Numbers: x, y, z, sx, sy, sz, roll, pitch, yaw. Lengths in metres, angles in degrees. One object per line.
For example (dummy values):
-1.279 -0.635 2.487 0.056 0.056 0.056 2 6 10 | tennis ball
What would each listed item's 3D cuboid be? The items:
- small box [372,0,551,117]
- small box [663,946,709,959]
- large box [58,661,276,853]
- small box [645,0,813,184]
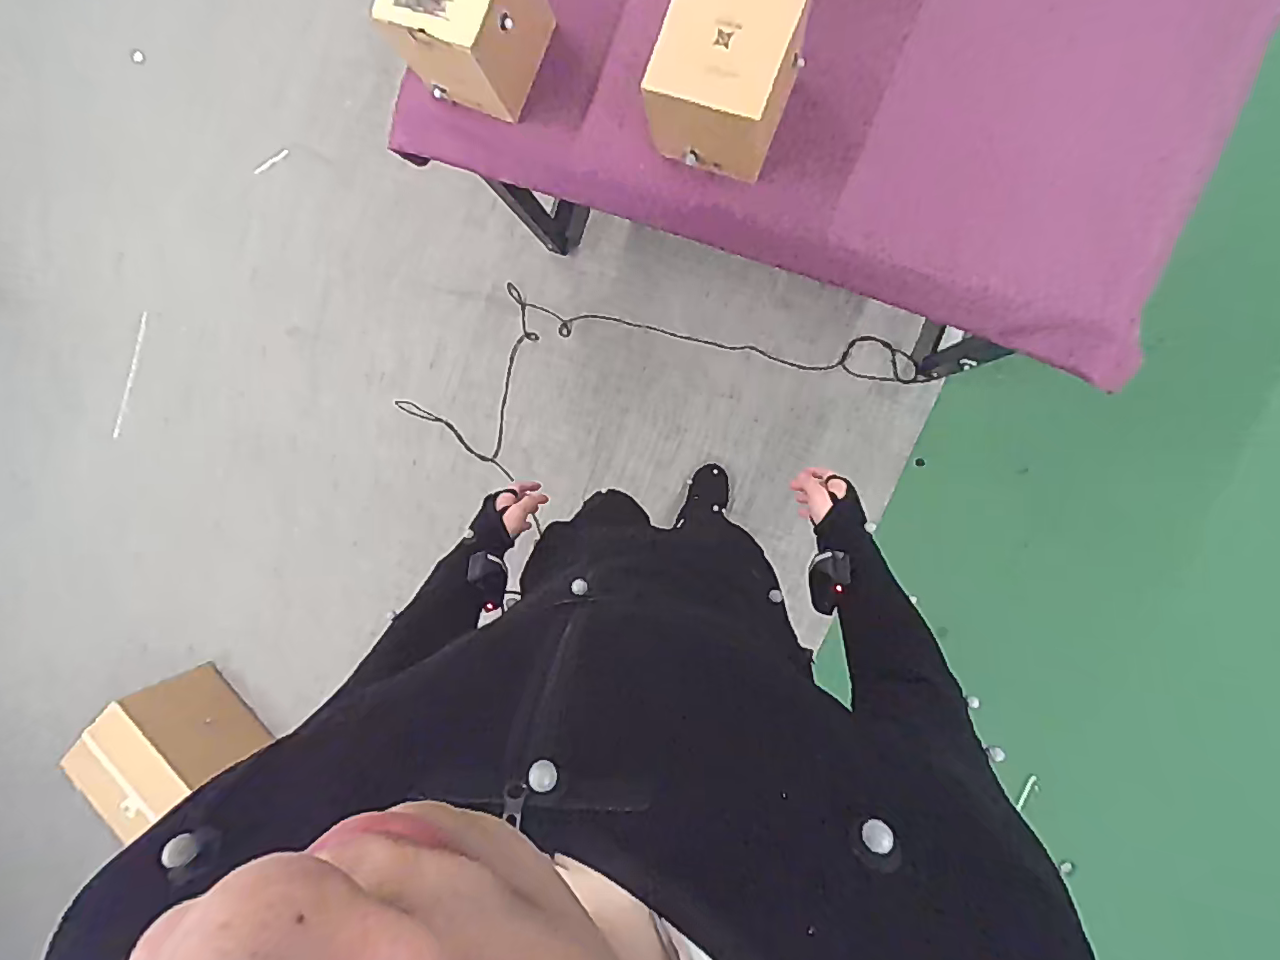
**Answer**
-0.253 -0.695 0.809 0.168 0.176 0.179 24 95 6 | small box
0.117 1.297 1.304 0.168 0.176 0.179 -33 87 9 | small box
-1.542 0.890 1.790 0.320 0.320 0.408 -45 87 9 | large box
0.121 -0.562 0.761 0.168 0.176 0.179 23 96 8 | small box
